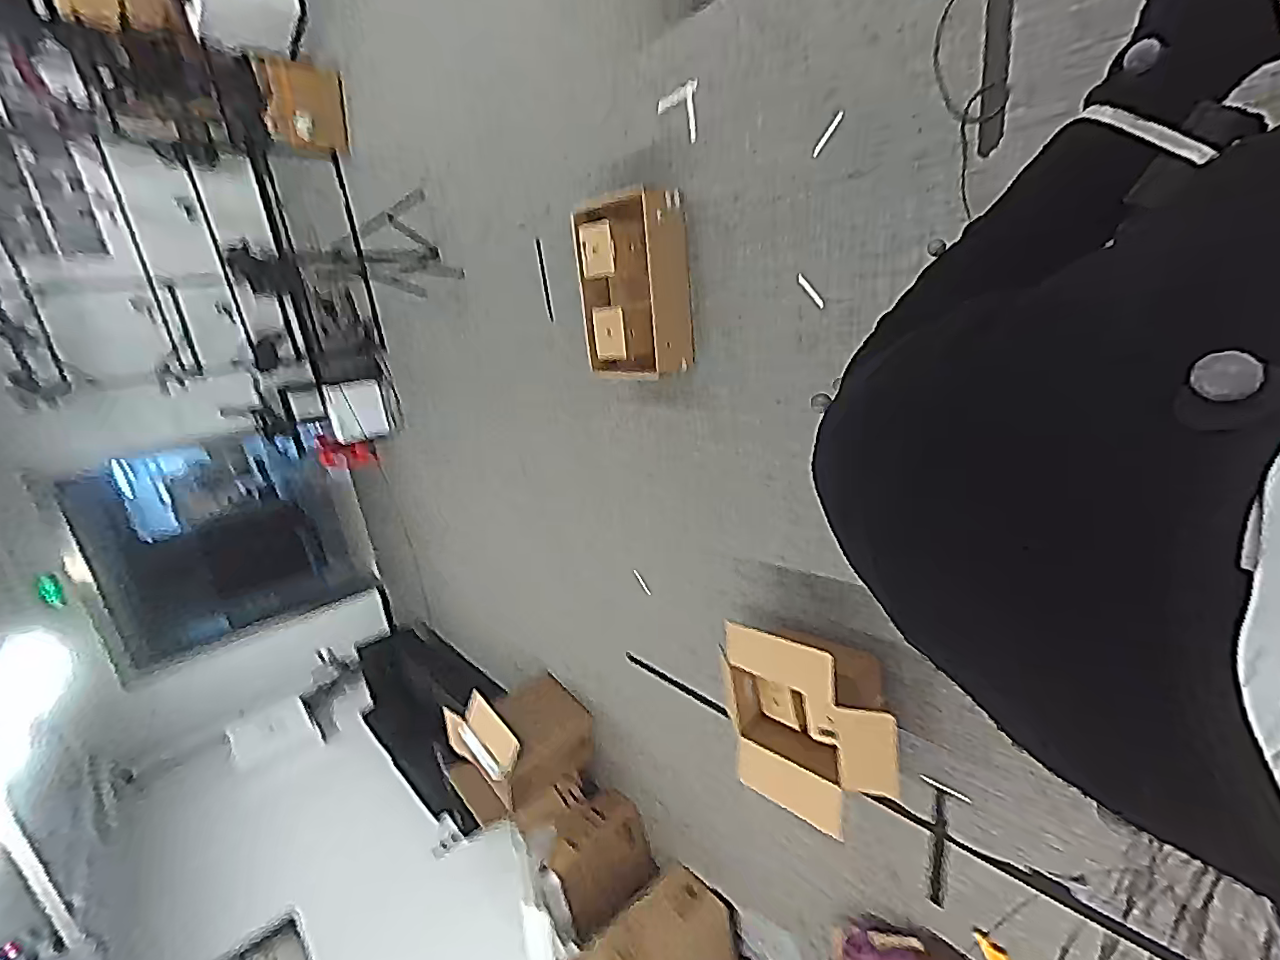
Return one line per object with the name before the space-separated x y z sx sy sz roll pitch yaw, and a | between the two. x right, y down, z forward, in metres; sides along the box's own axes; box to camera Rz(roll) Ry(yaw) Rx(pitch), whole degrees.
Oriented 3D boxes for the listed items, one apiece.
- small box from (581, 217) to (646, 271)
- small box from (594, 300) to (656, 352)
small box | -0.090 -0.859 1.965 0.179 0.176 0.168 16 119 43
small box | -0.052 -0.583 2.046 0.168 0.176 0.179 12 114 44
